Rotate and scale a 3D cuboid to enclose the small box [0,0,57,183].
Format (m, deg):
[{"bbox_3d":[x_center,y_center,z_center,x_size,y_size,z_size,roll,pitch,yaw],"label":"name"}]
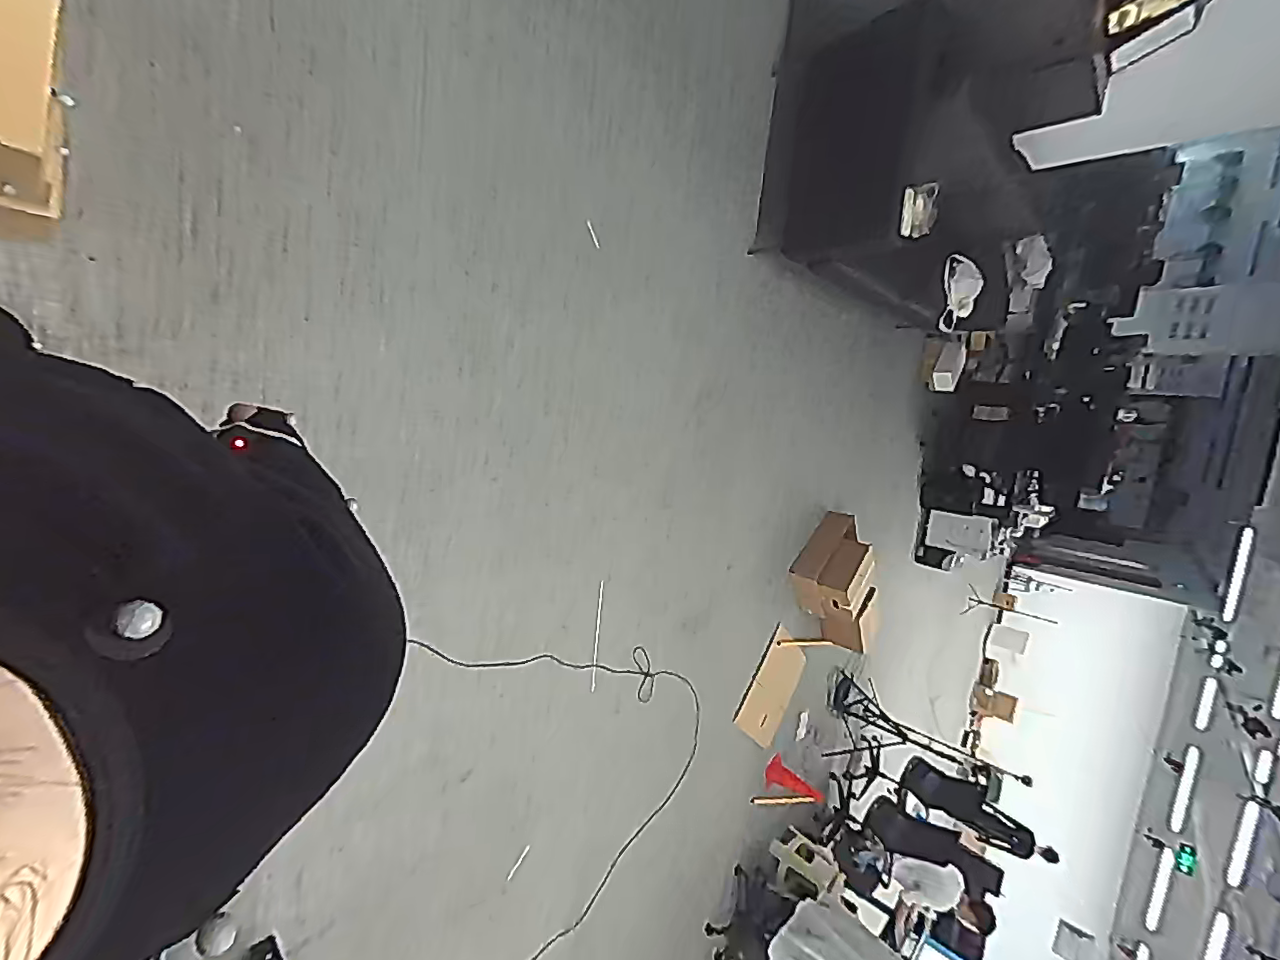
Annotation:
[{"bbox_3d":[-0.738,-0.446,0.562,0.168,0.176,0.179,3,95,-49],"label":"small box"}]
